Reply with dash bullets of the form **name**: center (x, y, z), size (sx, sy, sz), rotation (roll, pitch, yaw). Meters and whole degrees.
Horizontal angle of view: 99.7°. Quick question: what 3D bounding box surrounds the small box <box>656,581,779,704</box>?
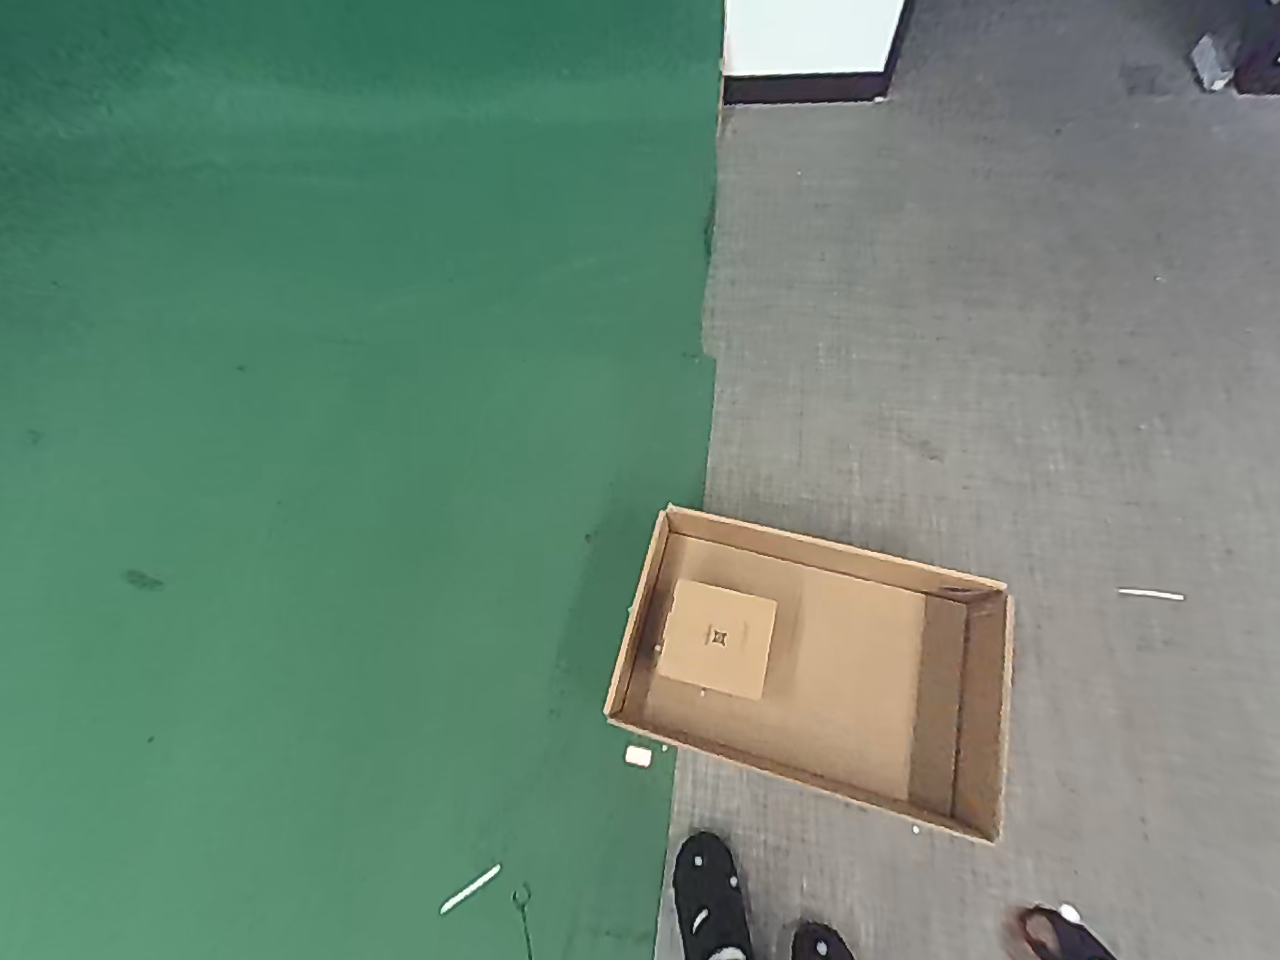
- **small box**: center (0.137, 0.295, 0.971), size (0.179, 0.176, 0.168), rotation (12, 71, 10)
